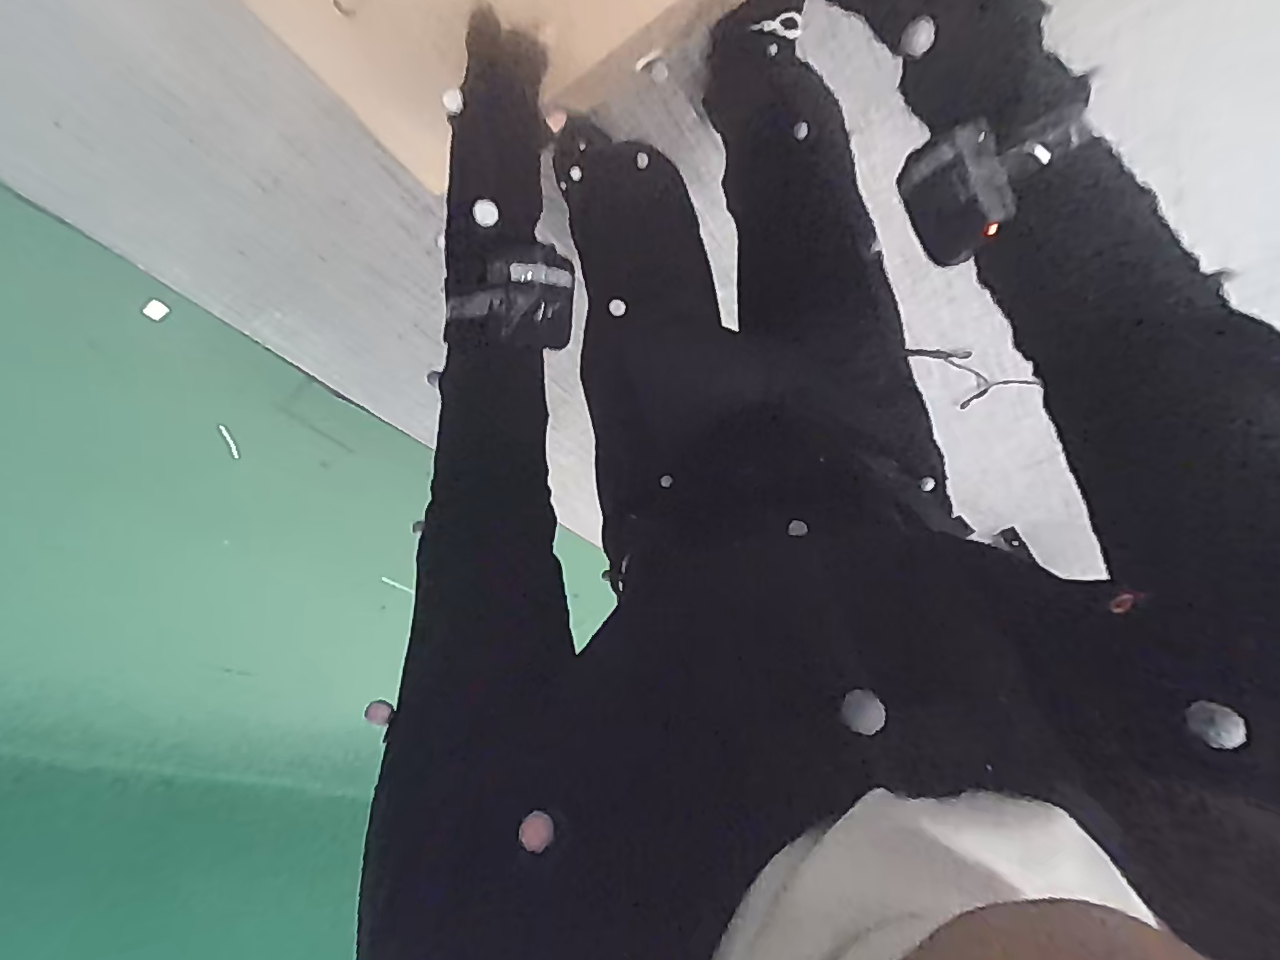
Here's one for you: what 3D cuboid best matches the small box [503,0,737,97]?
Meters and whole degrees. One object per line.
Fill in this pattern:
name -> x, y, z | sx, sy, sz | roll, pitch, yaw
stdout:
small box -> -0.025, -0.404, 0.375 | 0.168, 0.176, 0.179 | -24, 117, 21
